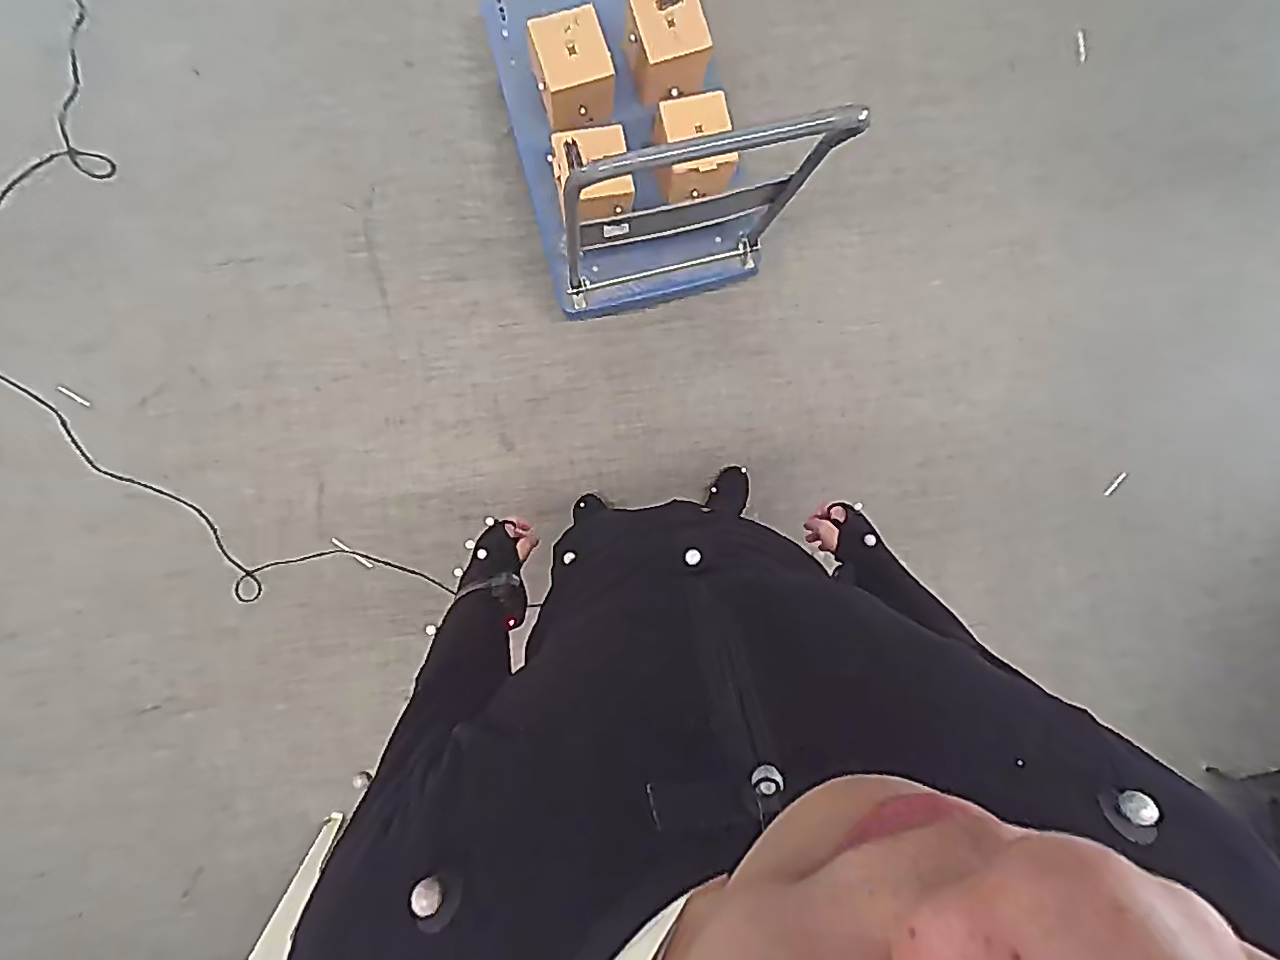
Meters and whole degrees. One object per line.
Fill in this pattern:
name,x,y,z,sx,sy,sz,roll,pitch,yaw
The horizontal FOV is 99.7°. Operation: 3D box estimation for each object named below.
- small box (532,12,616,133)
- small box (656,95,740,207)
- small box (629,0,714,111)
small box,-0.164,-1.029,1.384,0.168,0.176,0.179,-19,91,-5
small box,0.144,-0.849,1.407,0.168,0.176,0.179,-14,92,-4
small box,0.074,-1.110,1.400,0.168,0.176,0.179,-18,92,-3
